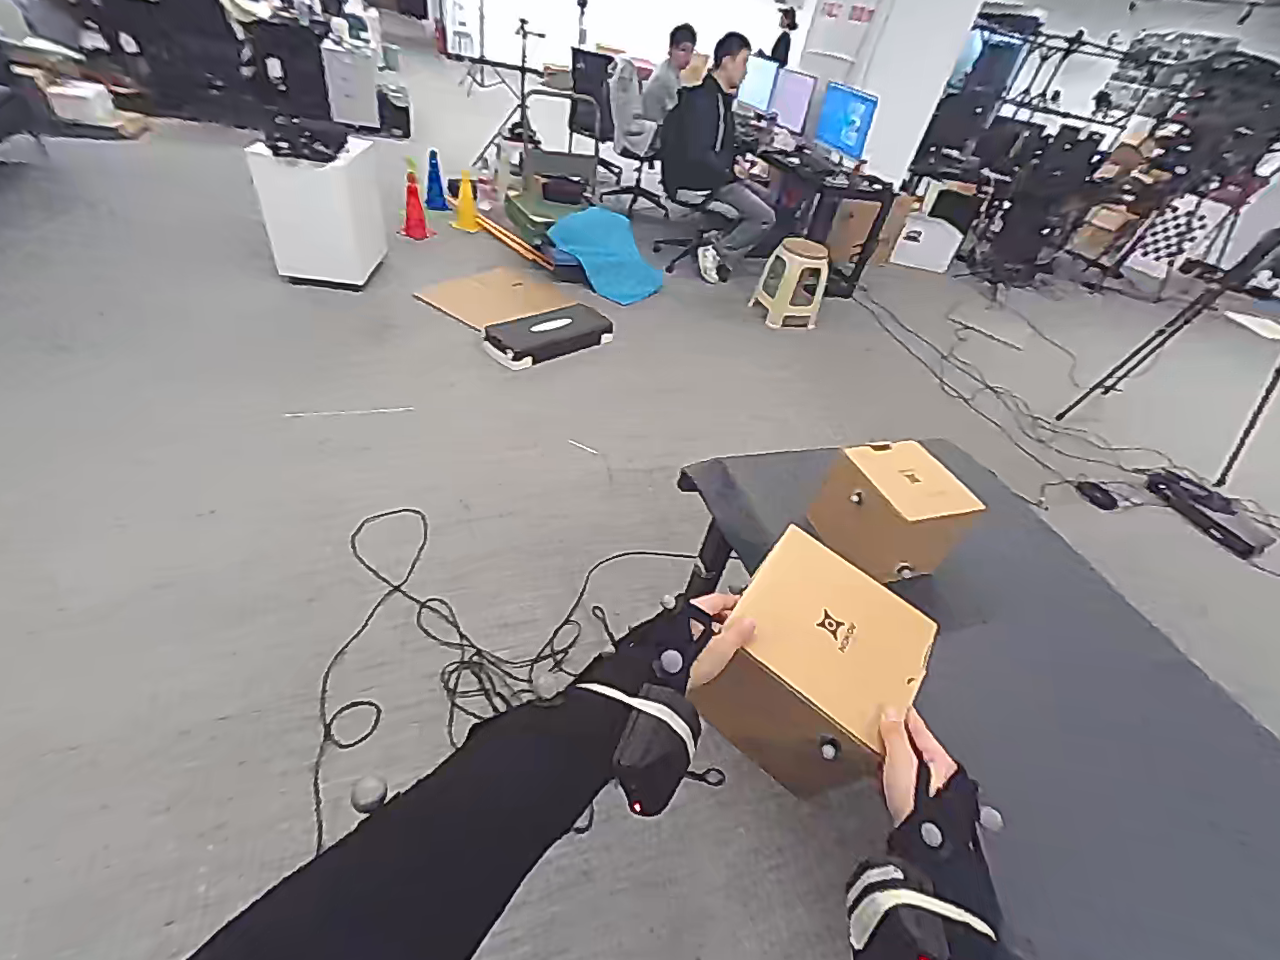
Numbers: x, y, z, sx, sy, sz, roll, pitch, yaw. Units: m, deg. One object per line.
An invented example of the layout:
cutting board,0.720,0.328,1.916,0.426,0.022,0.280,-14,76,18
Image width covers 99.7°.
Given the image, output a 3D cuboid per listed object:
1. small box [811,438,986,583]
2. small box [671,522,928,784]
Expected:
small box,0.425,0.051,0.923,0.168,0.176,0.179,-7,46,-20
small box,0.157,0.185,0.570,0.179,0.176,0.168,36,50,13
